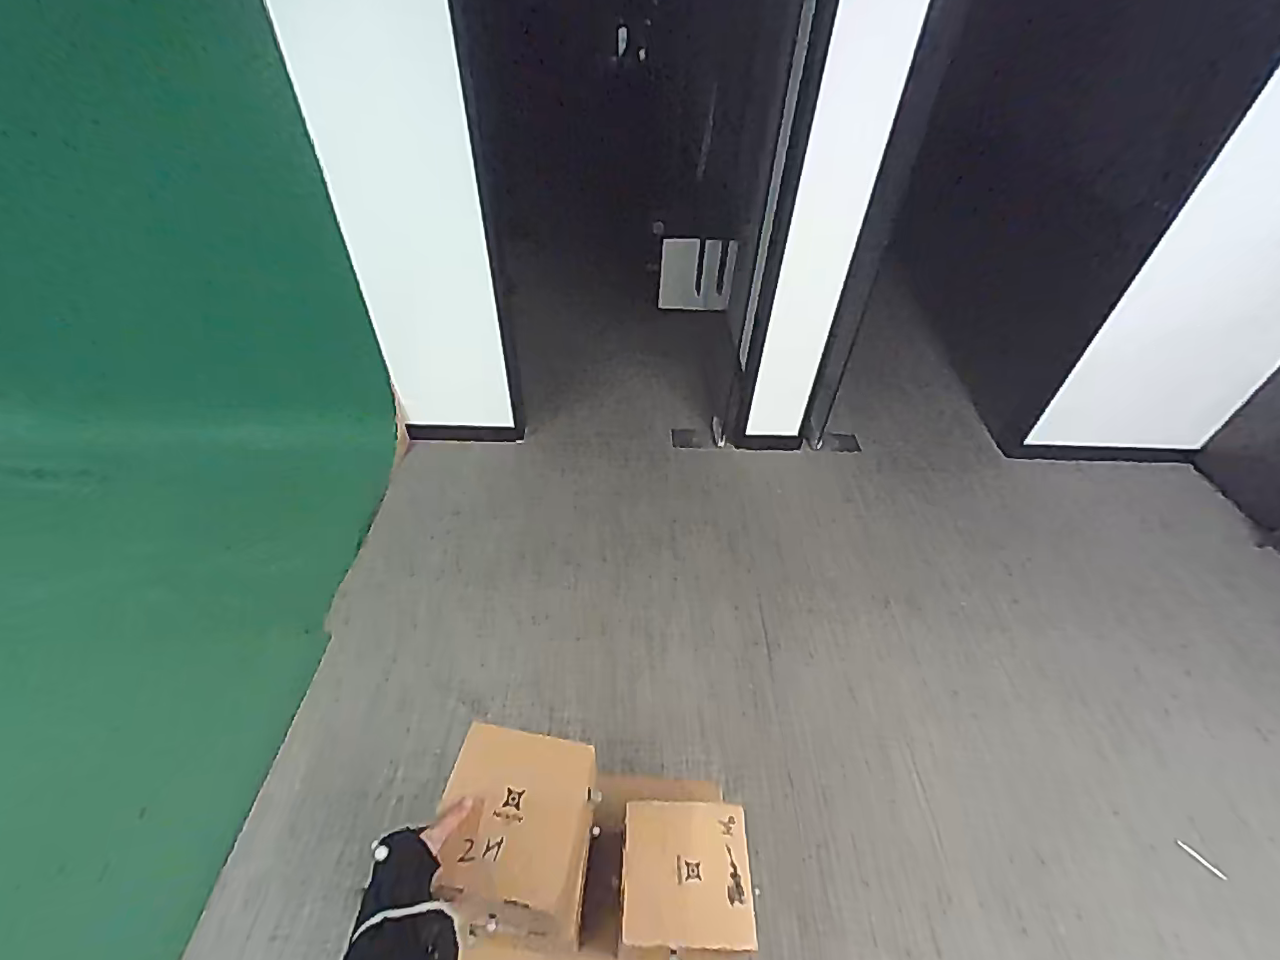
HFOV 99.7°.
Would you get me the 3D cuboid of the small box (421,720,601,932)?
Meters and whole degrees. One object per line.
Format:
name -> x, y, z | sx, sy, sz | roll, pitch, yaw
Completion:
small box -> -0.149, 0.443, 0.694 | 0.168, 0.176, 0.179 | 8, 44, 7
